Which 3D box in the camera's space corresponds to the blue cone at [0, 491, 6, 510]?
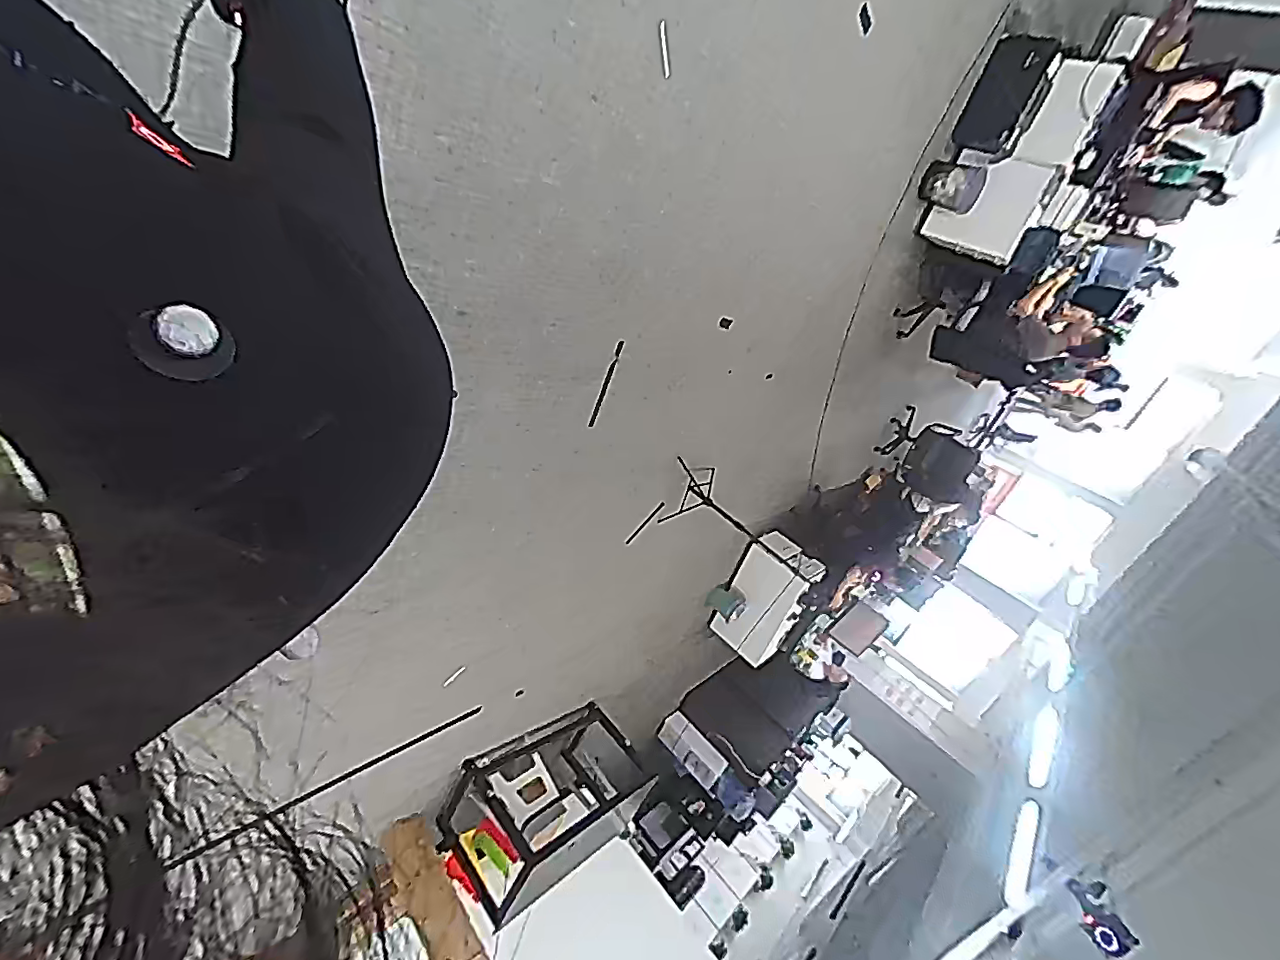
[{"bbox_3d":[-1.247,0.095,0.942,0.193,0.380,0.192,-13,131,-49],"label":"blue cone"}]
